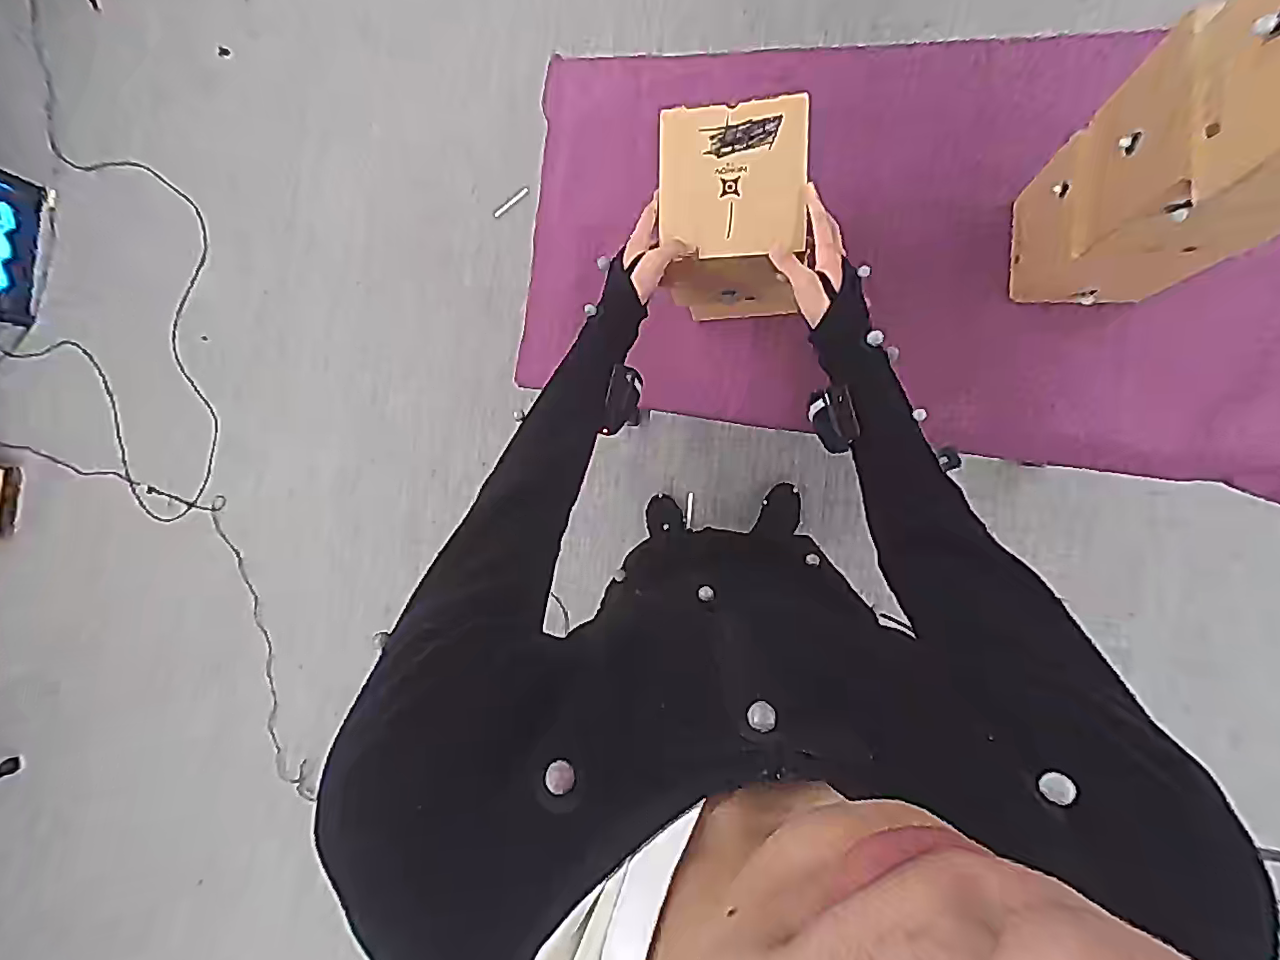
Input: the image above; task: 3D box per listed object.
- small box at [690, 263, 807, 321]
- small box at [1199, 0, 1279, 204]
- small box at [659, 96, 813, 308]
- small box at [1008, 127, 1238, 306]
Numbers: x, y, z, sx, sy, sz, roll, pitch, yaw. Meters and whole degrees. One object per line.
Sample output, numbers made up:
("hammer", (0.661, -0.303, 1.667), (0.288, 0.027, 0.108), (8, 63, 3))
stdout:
("small box", (0.158, -0.352, 0.833), (0.179, 0.176, 0.168), (-1, 89, 11))
("small box", (0.591, -0.336, 0.416), (0.179, 0.176, 0.168), (0, 88, 11))
("small box", (0.118, -0.329, 0.673), (0.168, 0.176, 0.179), (1, 91, 12))
("small box", (0.645, -0.347, 0.740), (0.179, 0.176, 0.168), (4, 89, 11))
